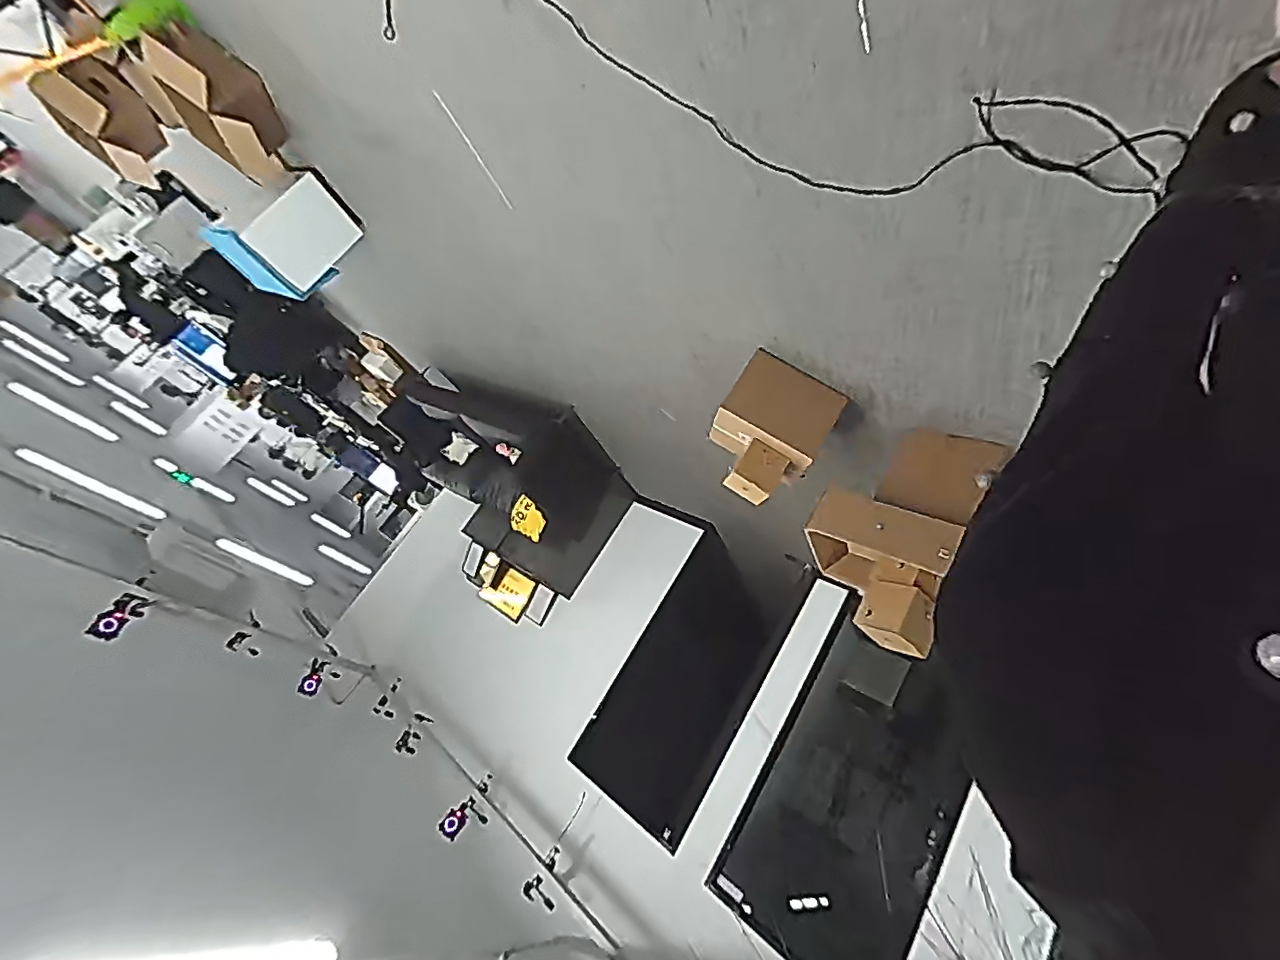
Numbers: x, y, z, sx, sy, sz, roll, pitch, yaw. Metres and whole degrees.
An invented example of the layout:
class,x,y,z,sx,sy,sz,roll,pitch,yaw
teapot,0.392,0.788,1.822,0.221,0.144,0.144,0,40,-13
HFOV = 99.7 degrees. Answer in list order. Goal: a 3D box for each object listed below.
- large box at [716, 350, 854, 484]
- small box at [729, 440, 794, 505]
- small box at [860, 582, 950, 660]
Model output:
class,x,y,z,sx,sy,sz,roll,pitch,yaw
large box,0.569,-0.247,2.174,0.408,0.320,0.320,33,164,10
small box,0.475,-0.028,2.112,0.168,0.176,0.179,33,165,5
small box,0.863,0.450,1.758,0.168,0.176,0.179,39,162,-20
